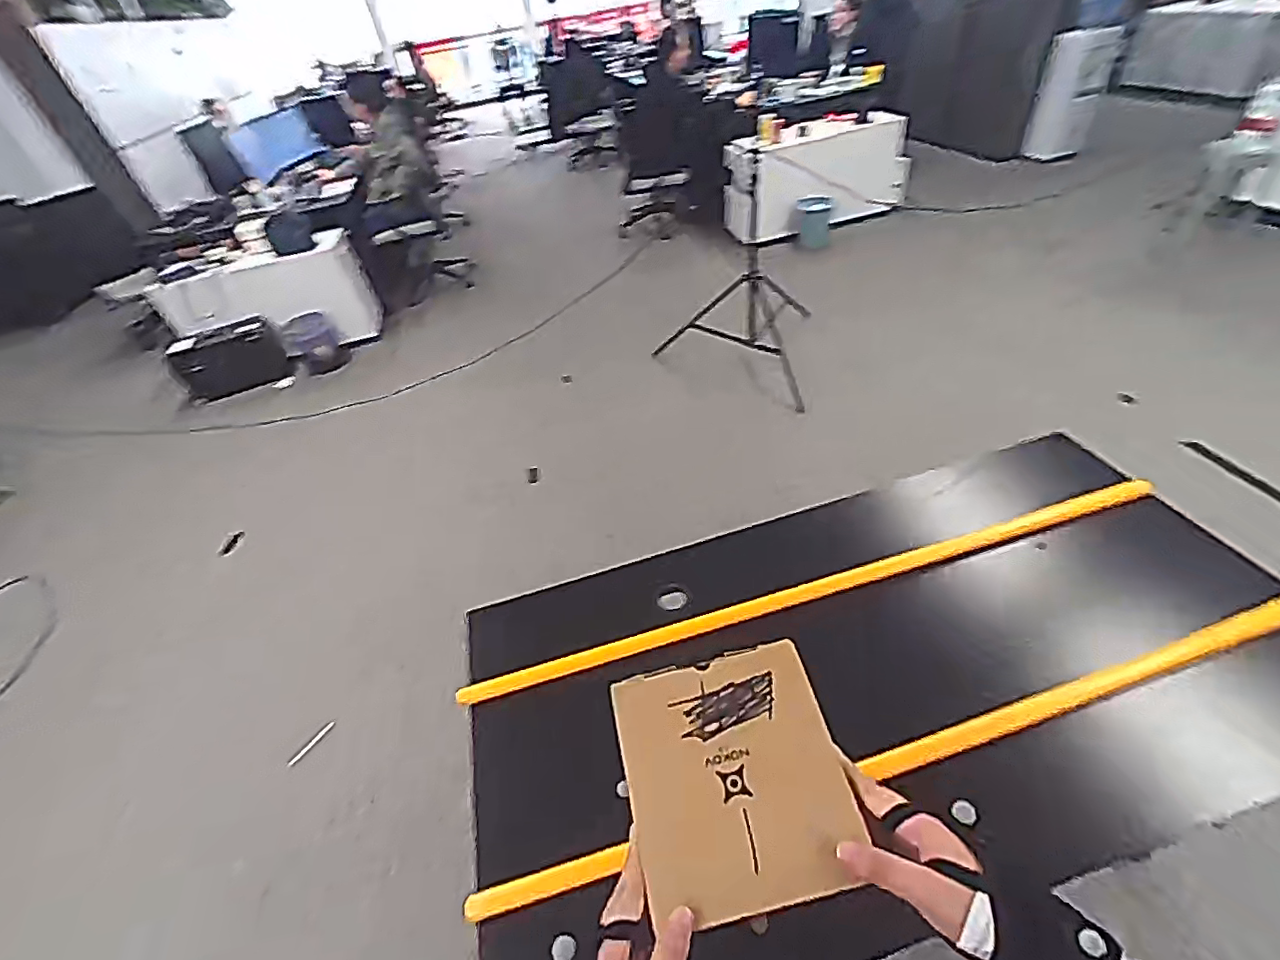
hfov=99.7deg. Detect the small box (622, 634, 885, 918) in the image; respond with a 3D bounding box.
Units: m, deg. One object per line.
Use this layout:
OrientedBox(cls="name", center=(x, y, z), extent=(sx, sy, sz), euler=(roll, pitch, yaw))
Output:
OrientedBox(cls="small box", center=(0.086, 0.267, 0.490), extent=(0.168, 0.176, 0.179), euler=(-13, 54, -1))
